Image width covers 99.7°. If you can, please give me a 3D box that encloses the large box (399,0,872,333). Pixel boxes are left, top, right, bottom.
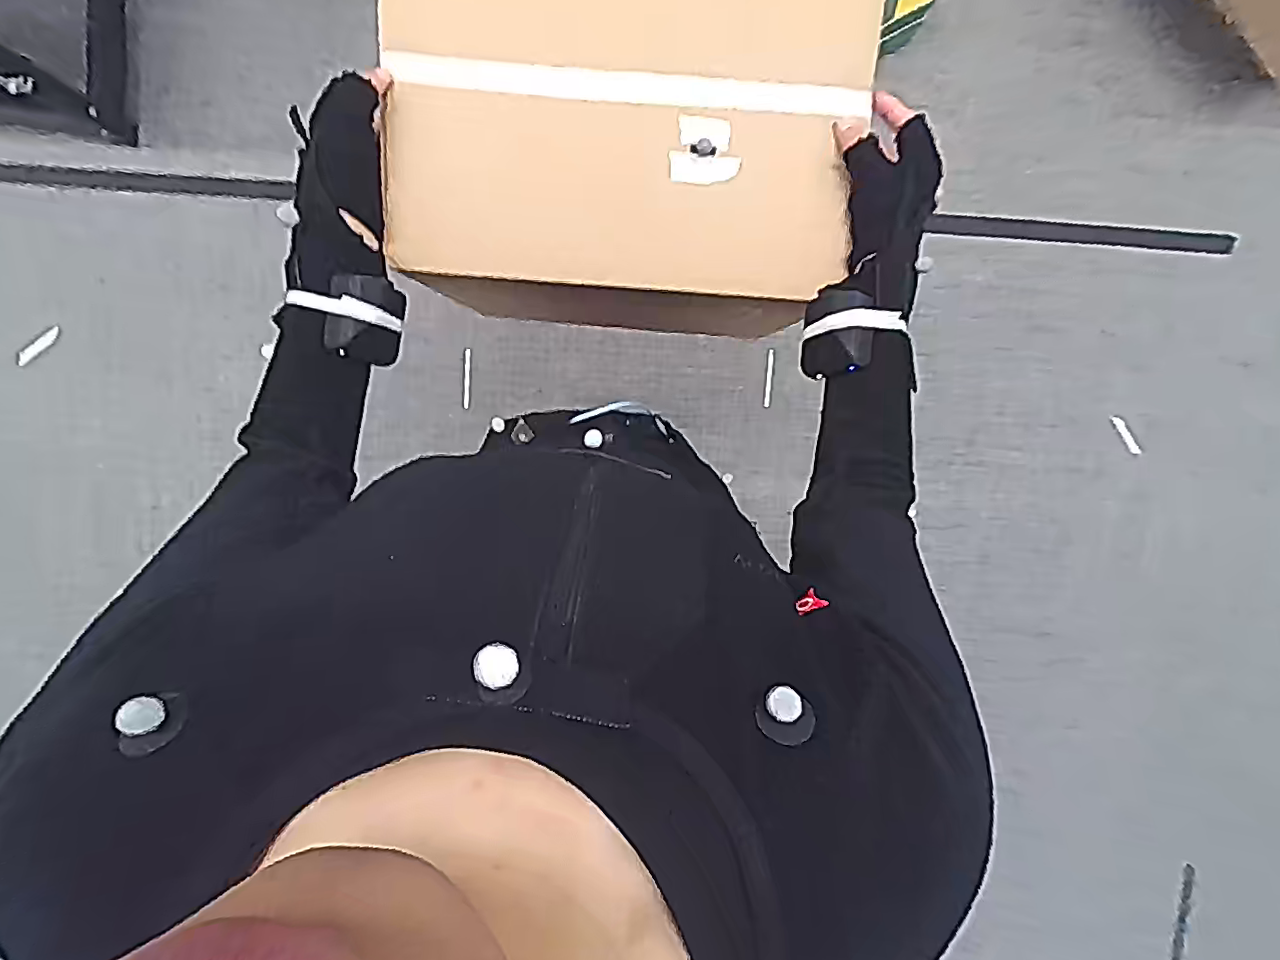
[{"bbox_3d":[-0.011,-0.351,0.611,0.408,0.320,0.320,4,100,-2],"label":"large box"}]
